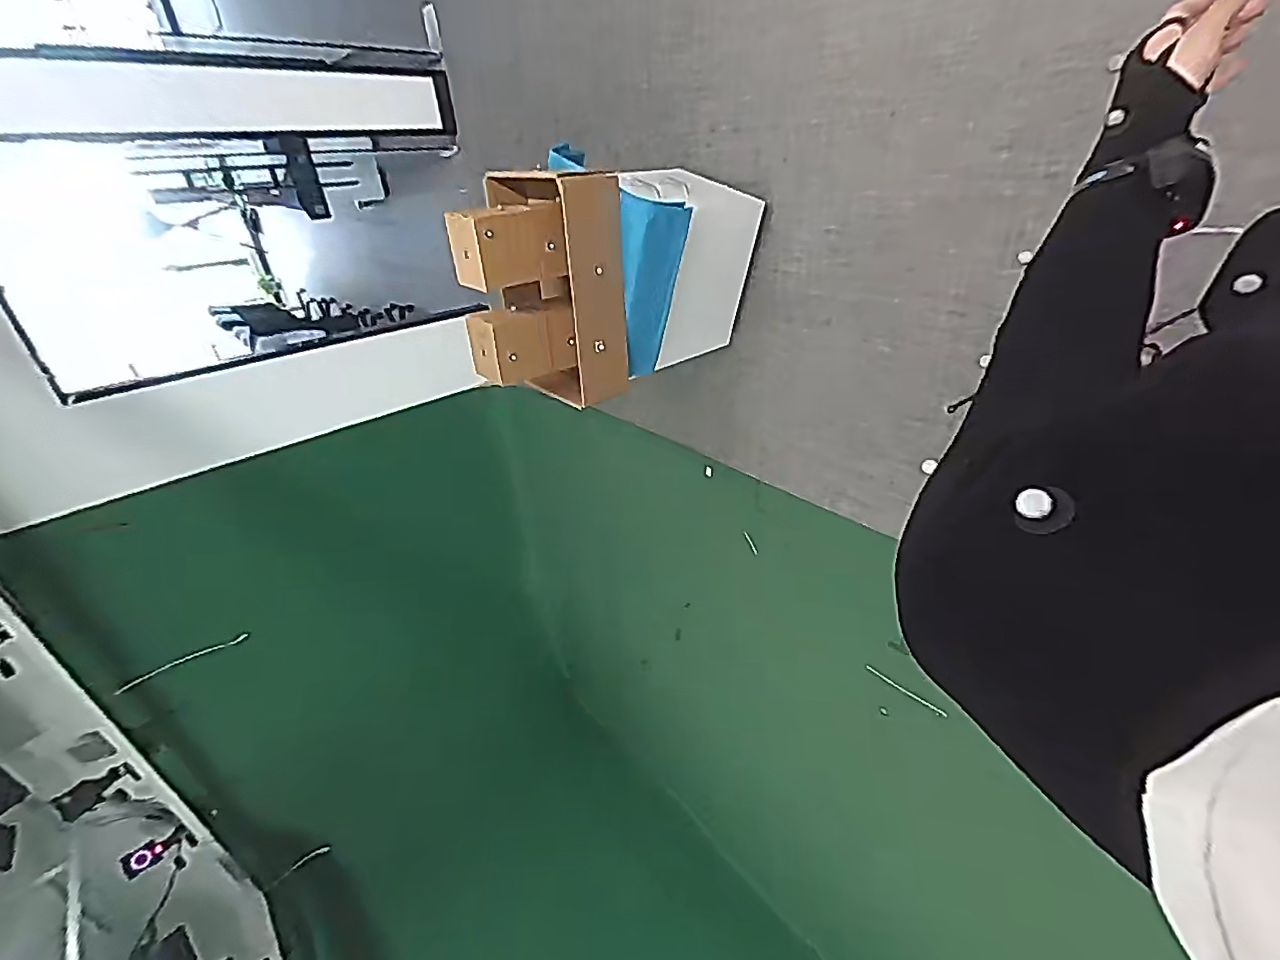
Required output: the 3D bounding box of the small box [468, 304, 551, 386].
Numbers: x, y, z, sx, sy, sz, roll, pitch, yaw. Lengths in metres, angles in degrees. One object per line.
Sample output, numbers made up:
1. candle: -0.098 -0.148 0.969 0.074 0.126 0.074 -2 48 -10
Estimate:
1. small box: -0.367 -0.391 1.549 0.168 0.176 0.179 30 132 41
